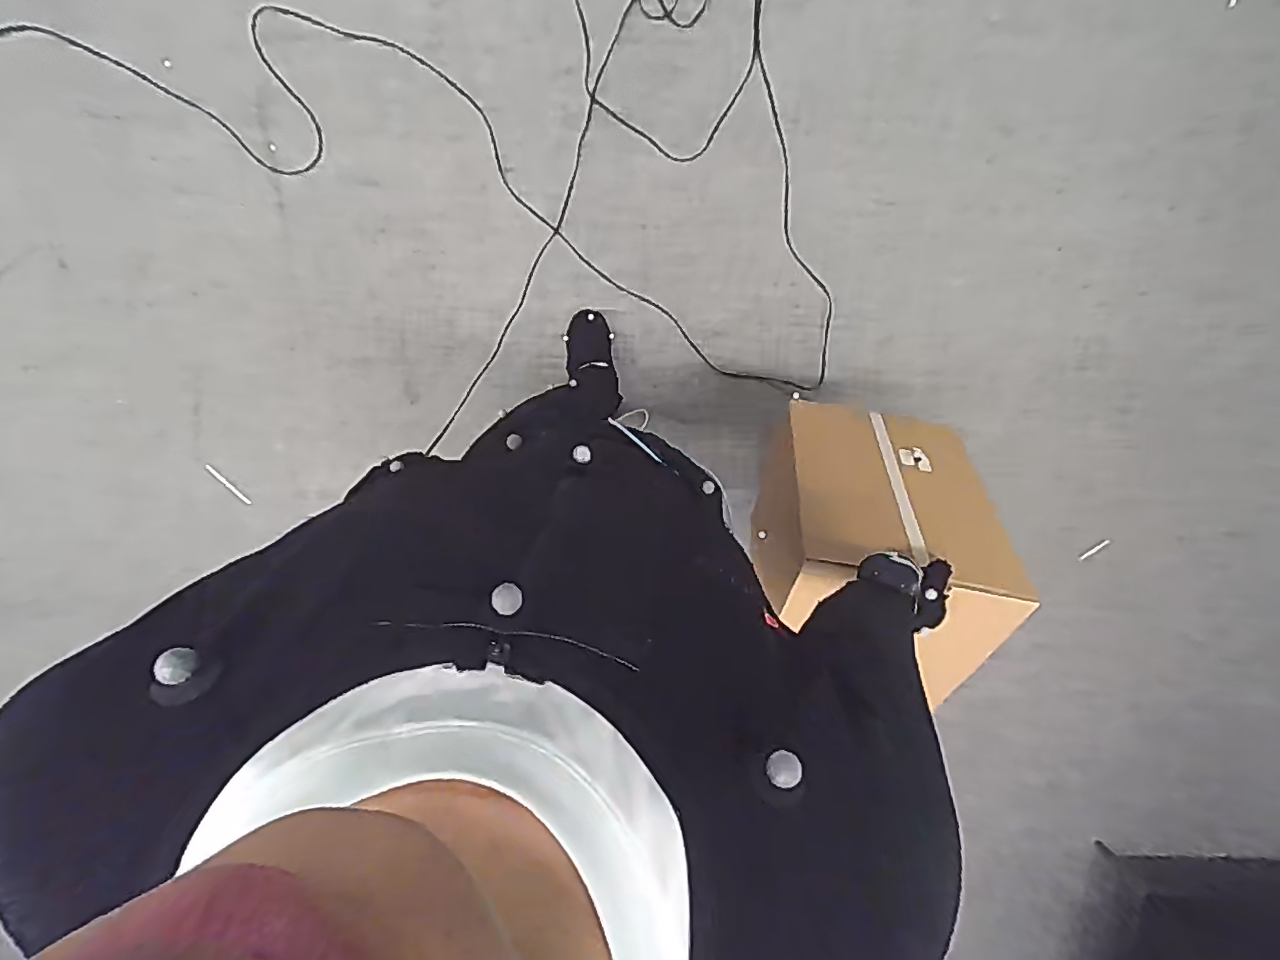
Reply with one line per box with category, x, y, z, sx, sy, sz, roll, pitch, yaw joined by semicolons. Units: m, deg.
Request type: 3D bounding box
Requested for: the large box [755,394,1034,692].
large box;0.392;0.102;0.968;0.320;0.408;0.320;11;132;3
